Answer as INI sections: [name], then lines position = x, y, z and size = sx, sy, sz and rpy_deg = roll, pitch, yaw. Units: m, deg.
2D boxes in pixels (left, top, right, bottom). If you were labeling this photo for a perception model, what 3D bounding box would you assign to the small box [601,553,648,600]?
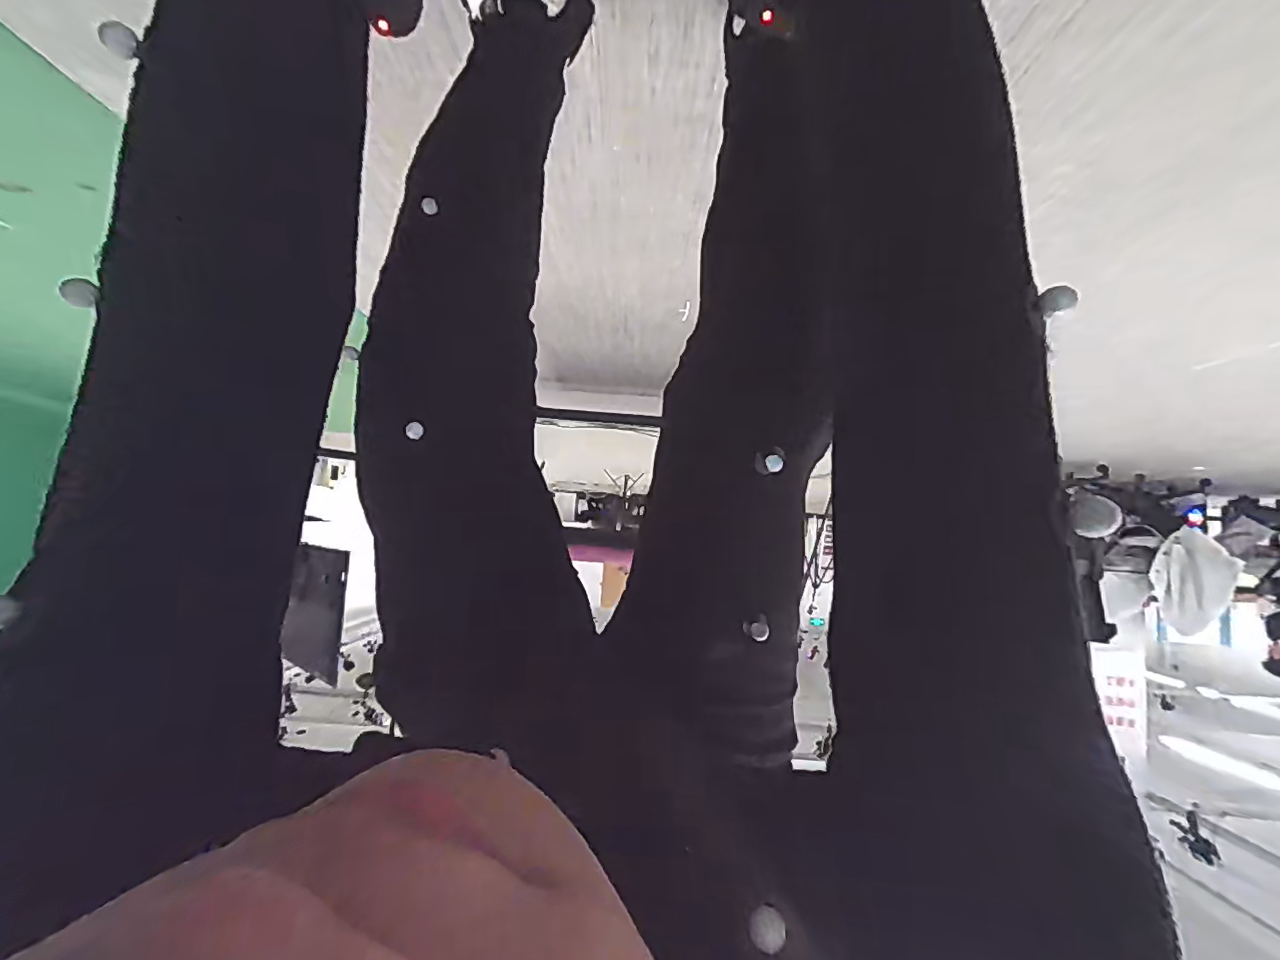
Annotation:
[small box]
position = -0.062, 0.397, 2.248
size = 0.179, 0.176, 0.168
rpy_deg = 4, 175, 2
